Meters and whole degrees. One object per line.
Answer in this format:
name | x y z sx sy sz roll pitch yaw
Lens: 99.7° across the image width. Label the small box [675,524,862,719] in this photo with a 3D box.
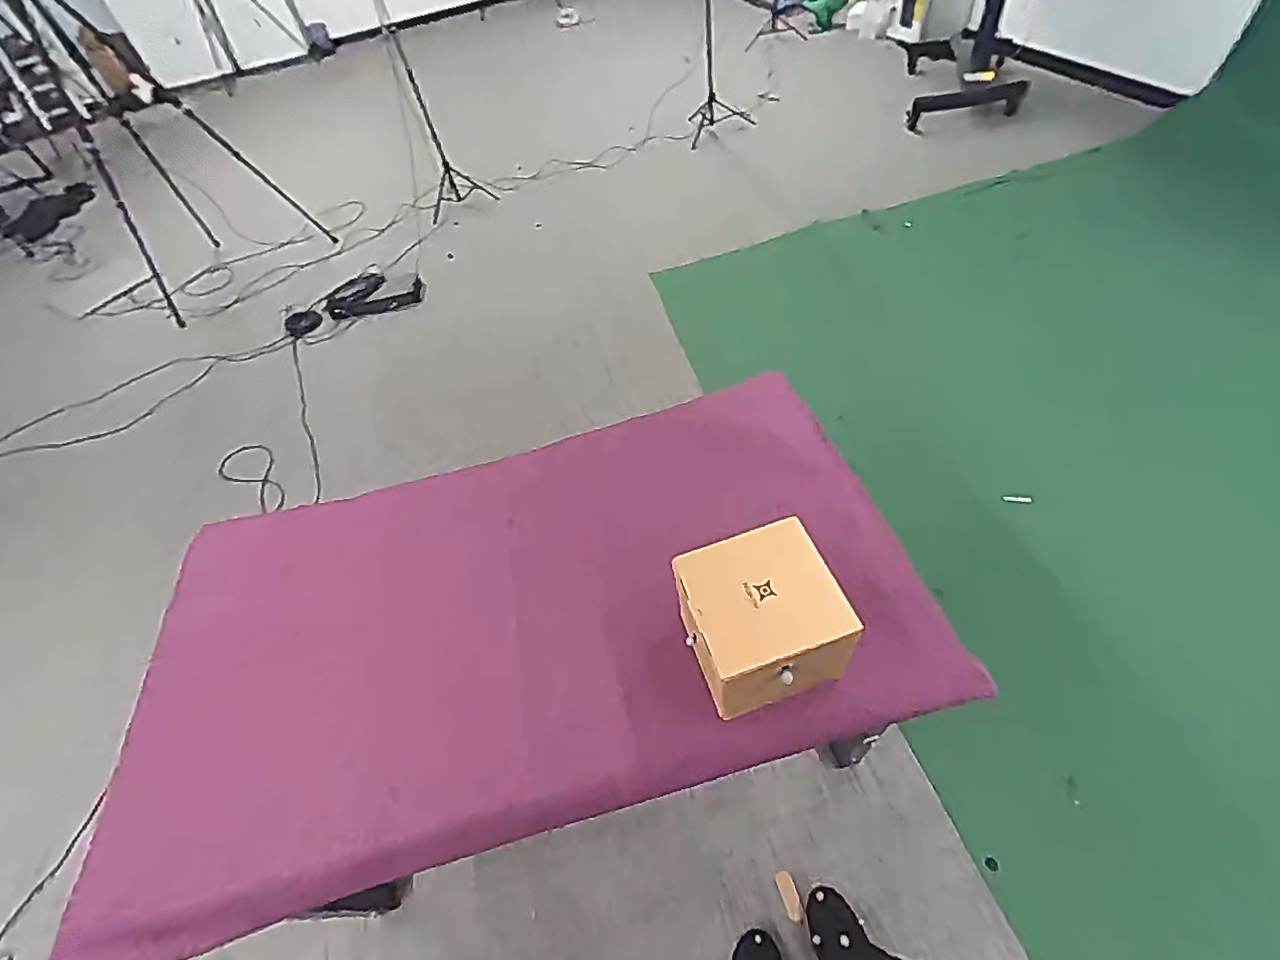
small box | 0.159 0.190 0.713 0.179 0.176 0.168 -19 52 -3
